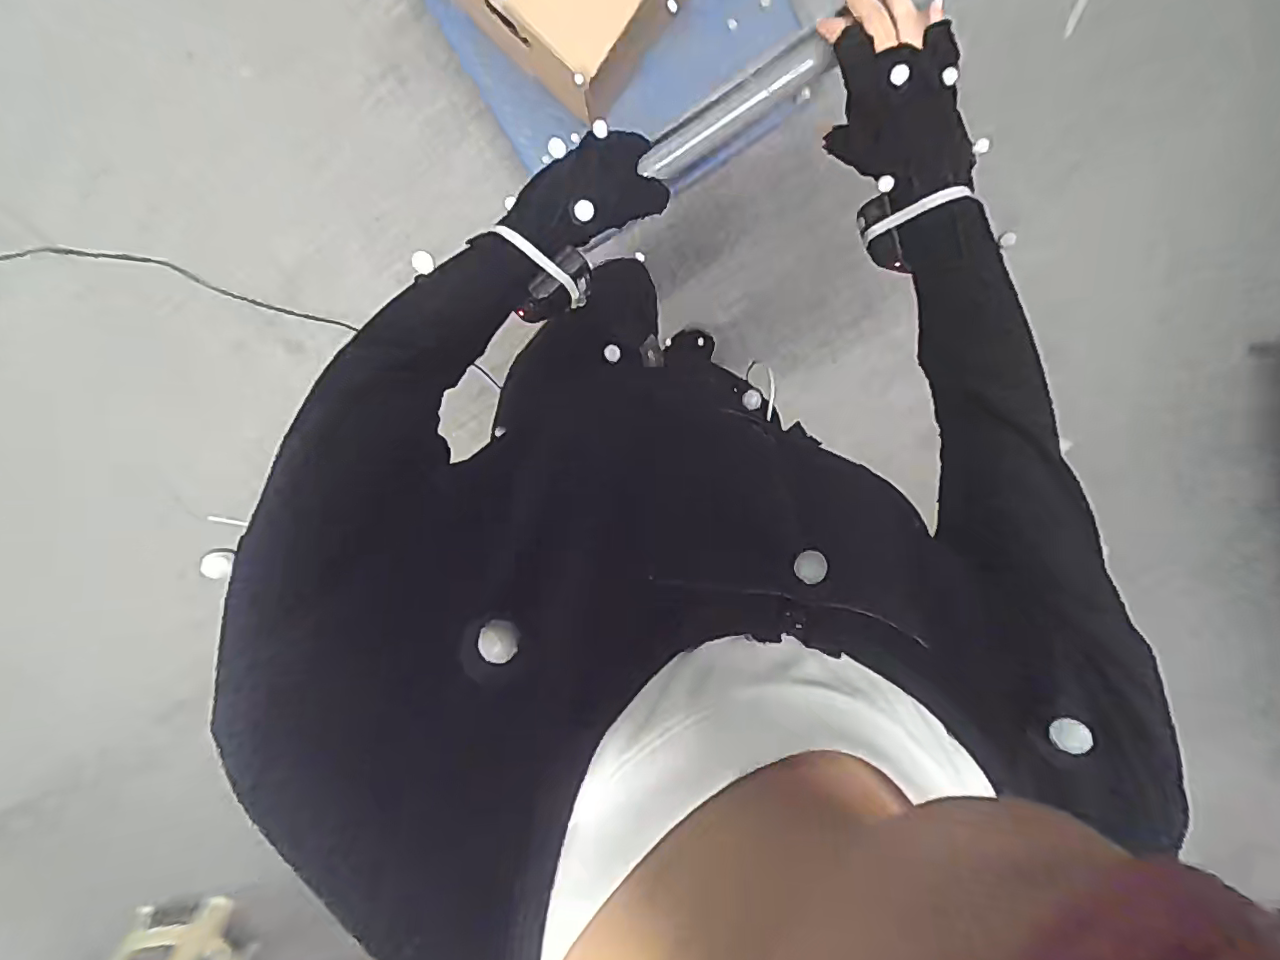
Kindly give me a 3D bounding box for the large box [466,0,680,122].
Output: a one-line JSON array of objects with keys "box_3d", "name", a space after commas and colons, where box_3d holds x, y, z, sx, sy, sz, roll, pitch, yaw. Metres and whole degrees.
[{"box_3d": [-0.070, -0.868, 0.830, 0.320, 0.320, 0.408, 37, 107, -15], "name": "large box"}]
